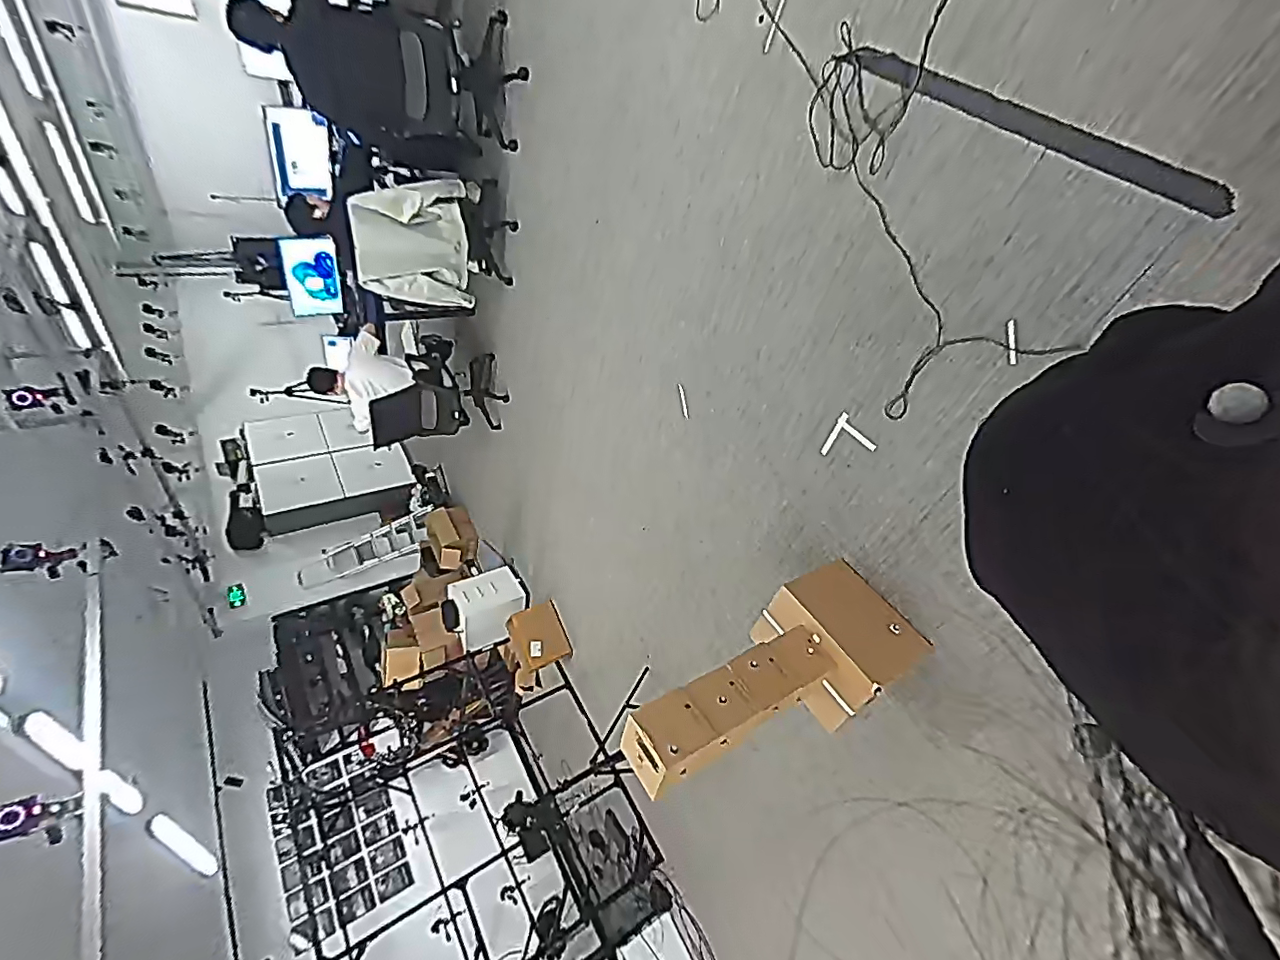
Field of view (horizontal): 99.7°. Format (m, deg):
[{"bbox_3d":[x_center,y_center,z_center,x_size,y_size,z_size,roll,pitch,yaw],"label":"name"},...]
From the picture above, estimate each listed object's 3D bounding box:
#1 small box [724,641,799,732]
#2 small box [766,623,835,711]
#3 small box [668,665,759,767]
[{"bbox_3d":[0.341,0.610,1.600,0.168,0.176,0.179,50,141,35],"label":"small box"},{"bbox_3d":[0.475,0.580,1.687,0.168,0.176,0.179,50,140,33],"label":"small box"},{"bbox_3d":[0.208,0.652,1.512,0.168,0.176,0.179,47,138,38],"label":"small box"}]
